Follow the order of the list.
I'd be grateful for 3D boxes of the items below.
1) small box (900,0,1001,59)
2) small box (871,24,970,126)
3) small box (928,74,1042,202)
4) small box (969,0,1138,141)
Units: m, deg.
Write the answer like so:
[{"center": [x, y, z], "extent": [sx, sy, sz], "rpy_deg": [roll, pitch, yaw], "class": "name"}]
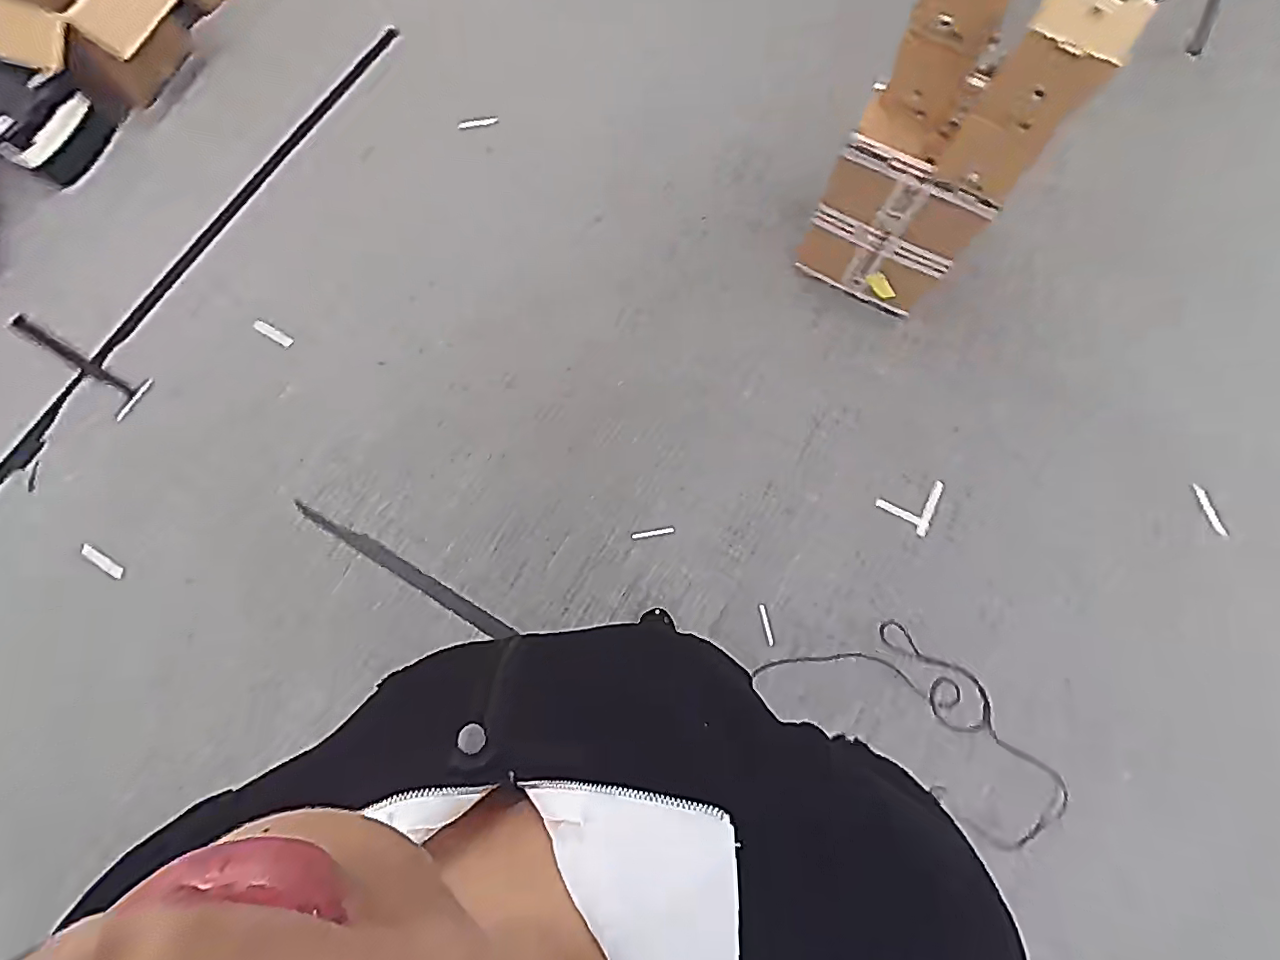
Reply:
[{"center": [0.660, -1.014, 1.091], "extent": [0.168, 0.176, 0.179], "rpy_deg": [29, 79, 10], "class": "small box"}, {"center": [0.665, -0.977, 1.249], "extent": [0.168, 0.176, 0.179], "rpy_deg": [29, 79, 9], "class": "small box"}, {"center": [0.777, -0.767, 1.197], "extent": [0.168, 0.176, 0.179], "rpy_deg": [29, 80, 7], "class": "small box"}, {"center": [0.775, -0.804, 1.037], "extent": [0.168, 0.176, 0.179], "rpy_deg": [33, 80, 8], "class": "small box"}]
